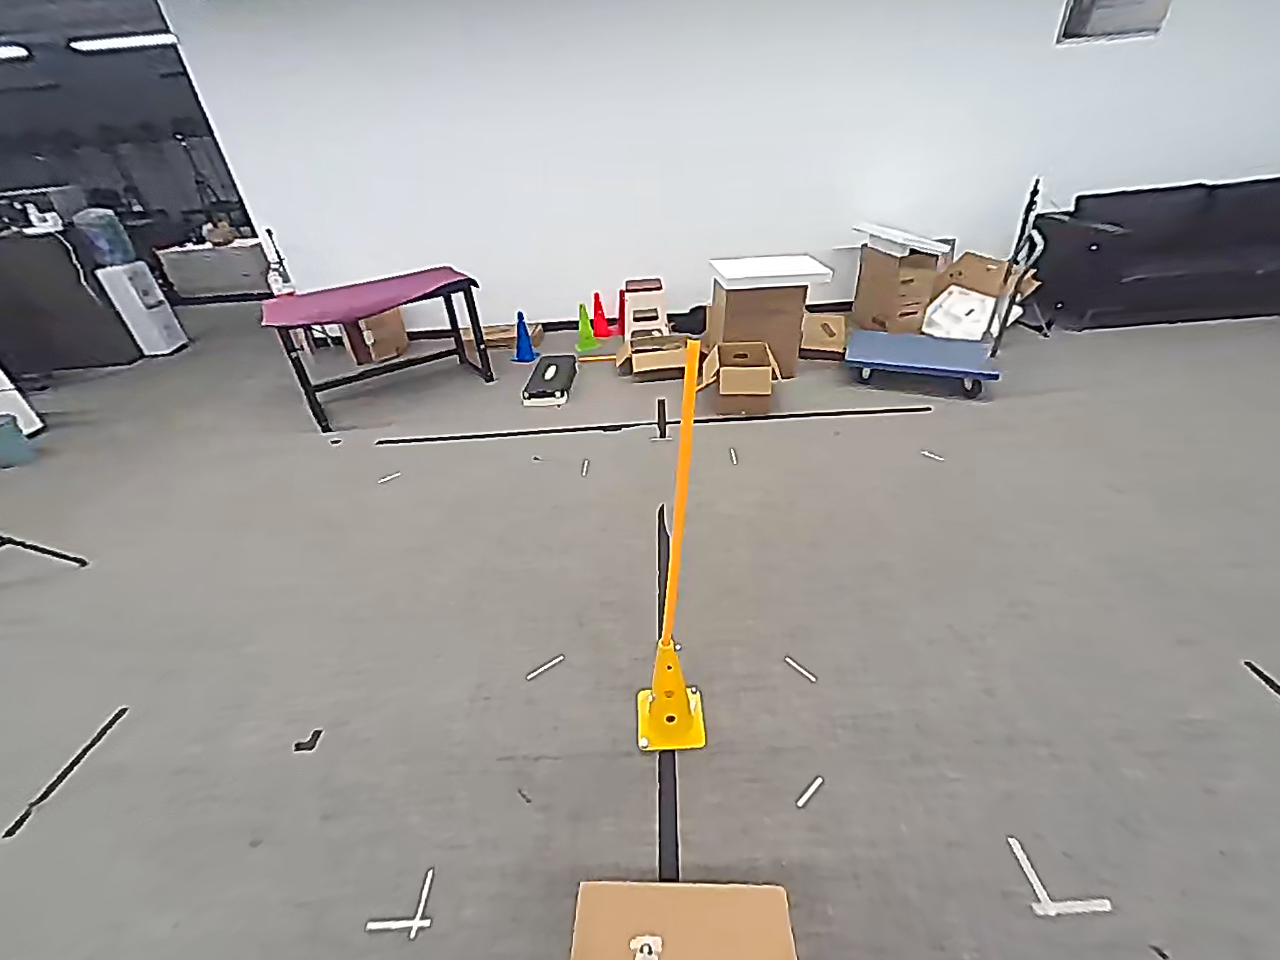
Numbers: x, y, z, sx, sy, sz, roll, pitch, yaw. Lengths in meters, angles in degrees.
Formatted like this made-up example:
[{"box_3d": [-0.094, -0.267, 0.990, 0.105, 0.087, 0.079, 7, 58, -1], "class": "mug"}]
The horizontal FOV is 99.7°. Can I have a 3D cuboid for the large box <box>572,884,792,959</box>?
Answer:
[{"box_3d": [0.083, 1.006, 1.012, 0.408, 0.320, 0.320, -2, 30, 3], "class": "large box"}]
